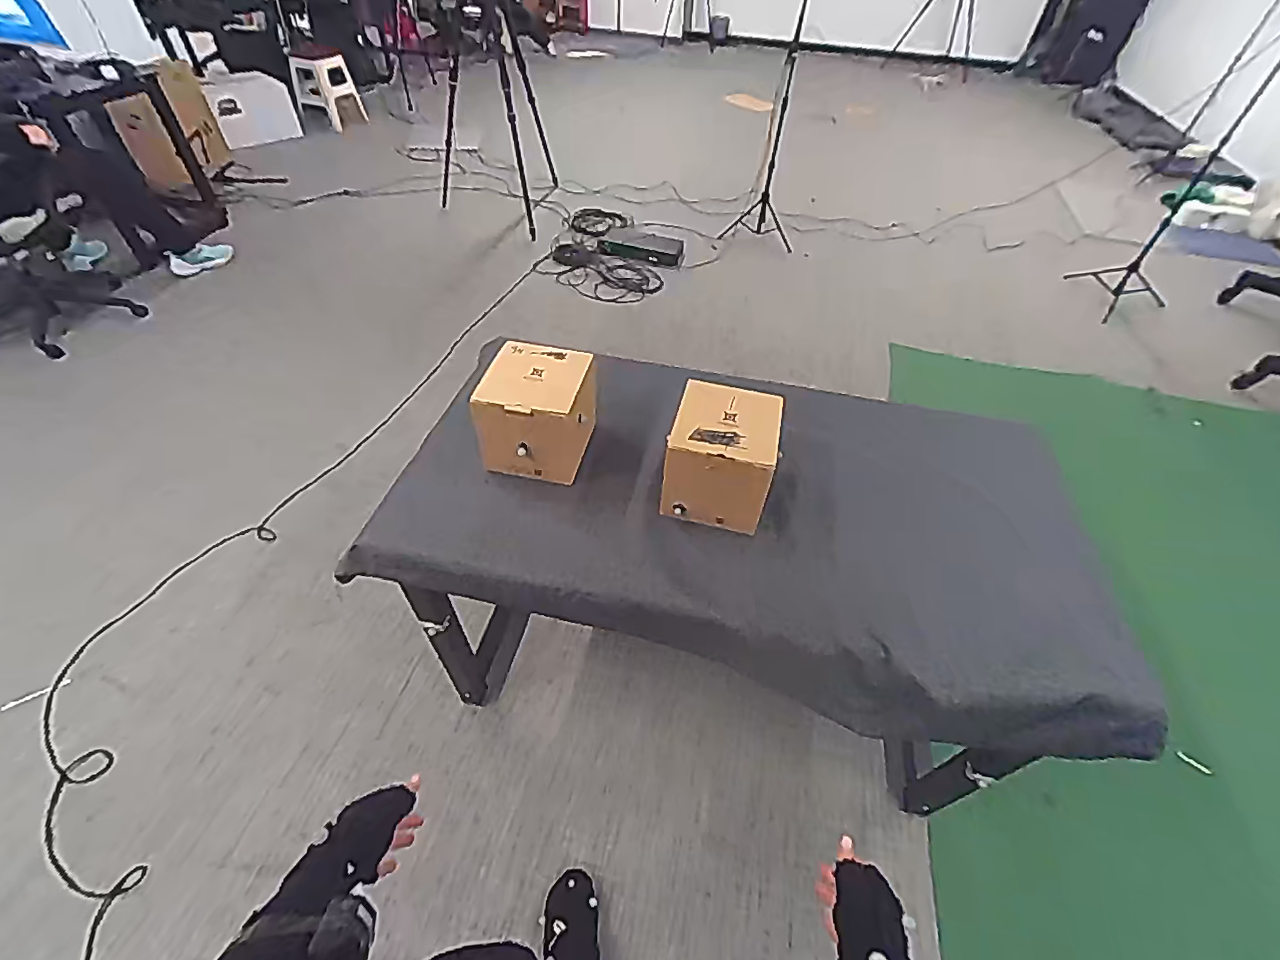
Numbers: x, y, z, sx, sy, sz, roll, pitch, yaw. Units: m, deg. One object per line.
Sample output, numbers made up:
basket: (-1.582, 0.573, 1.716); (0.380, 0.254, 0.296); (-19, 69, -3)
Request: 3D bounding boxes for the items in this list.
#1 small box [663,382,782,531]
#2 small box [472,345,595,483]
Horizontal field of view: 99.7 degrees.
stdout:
small box: (0.137, -0.038, 0.926); (0.168, 0.176, 0.179); (12, 47, 8)
small box: (-0.180, -0.116, 0.983); (0.168, 0.176, 0.179); (10, 49, 6)
